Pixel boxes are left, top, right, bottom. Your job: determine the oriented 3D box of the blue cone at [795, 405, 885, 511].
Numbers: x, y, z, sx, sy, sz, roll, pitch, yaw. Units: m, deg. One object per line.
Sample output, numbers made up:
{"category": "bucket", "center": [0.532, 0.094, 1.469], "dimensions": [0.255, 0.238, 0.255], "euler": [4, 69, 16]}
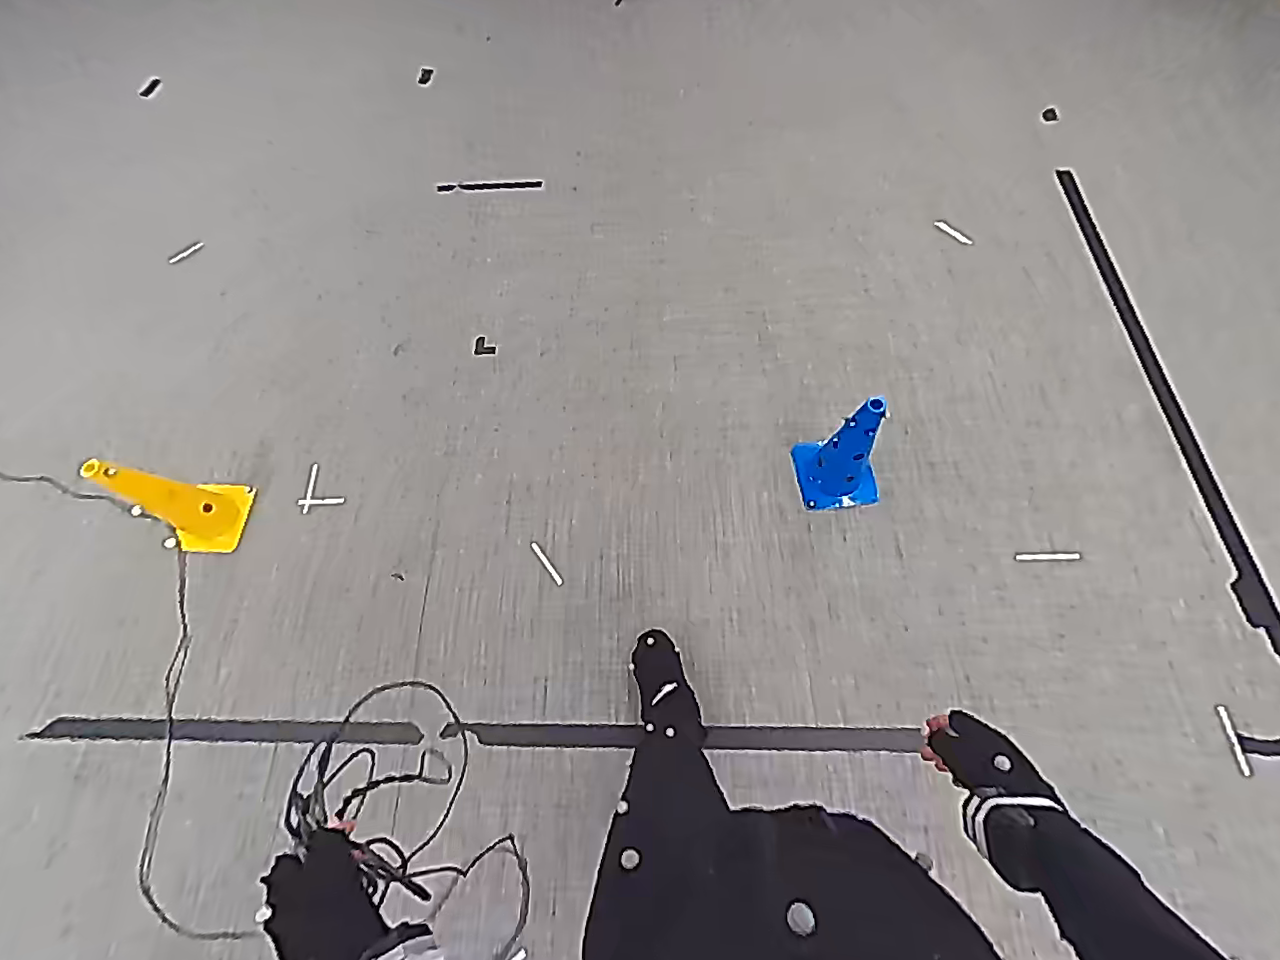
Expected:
{"category": "blue cone", "center": [0.509, -0.079, 1.302], "dimensions": [0.193, 0.380, 0.192], "euler": [-7, 67, 2]}
